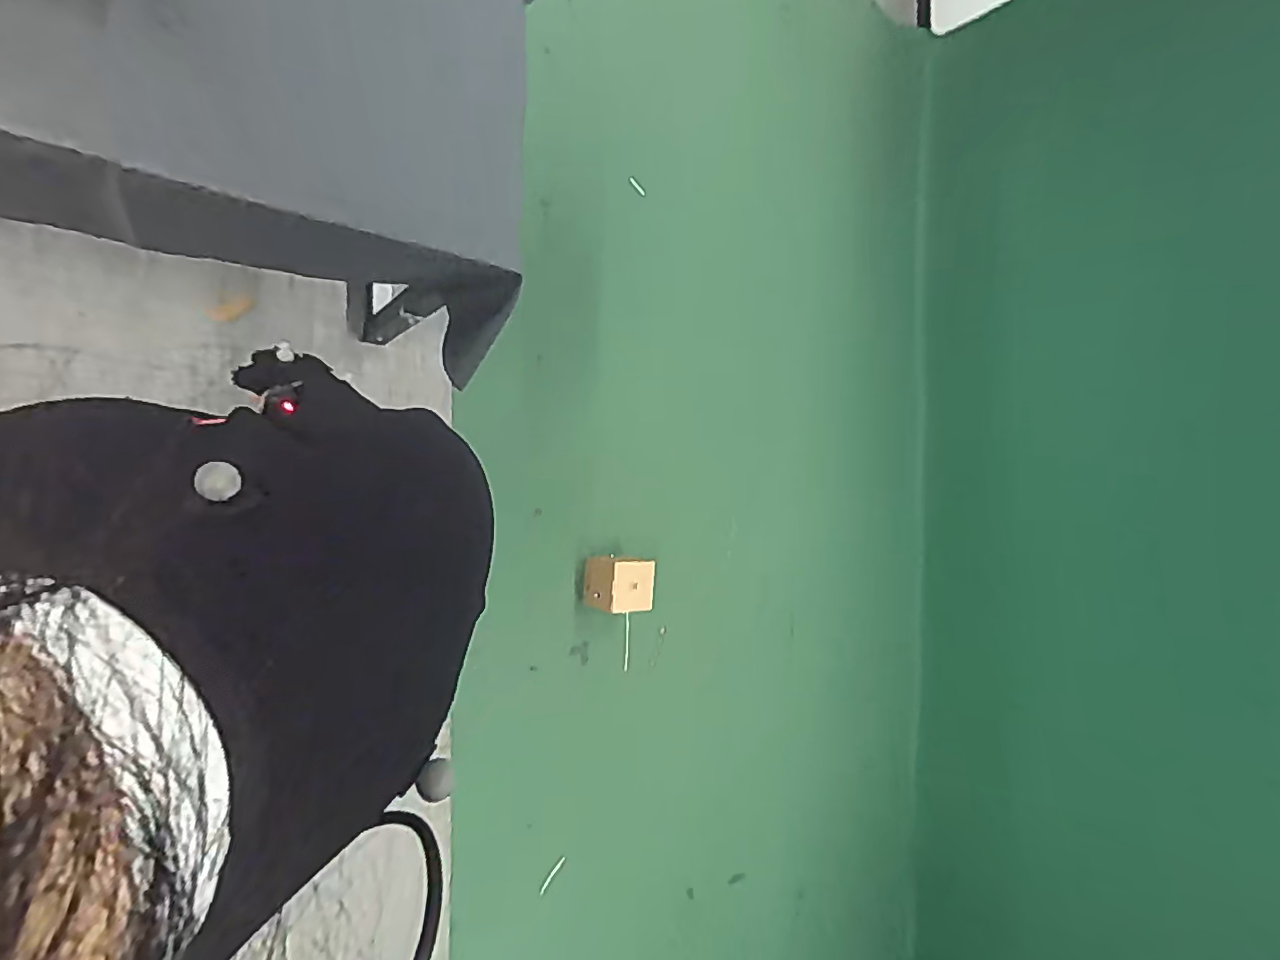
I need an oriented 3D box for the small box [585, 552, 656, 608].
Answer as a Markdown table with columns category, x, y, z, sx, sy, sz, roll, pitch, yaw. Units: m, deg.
| category | x | y | z | sx | sy | sz | roll | pitch | yaw |
| --- | --- | --- | --- | --- | --- | --- | --- | --- | --- |
| small box | -0.070 | 0.337 | 1.840 | 0.179 | 0.176 | 0.168 | 7 | 87 | -40 |
